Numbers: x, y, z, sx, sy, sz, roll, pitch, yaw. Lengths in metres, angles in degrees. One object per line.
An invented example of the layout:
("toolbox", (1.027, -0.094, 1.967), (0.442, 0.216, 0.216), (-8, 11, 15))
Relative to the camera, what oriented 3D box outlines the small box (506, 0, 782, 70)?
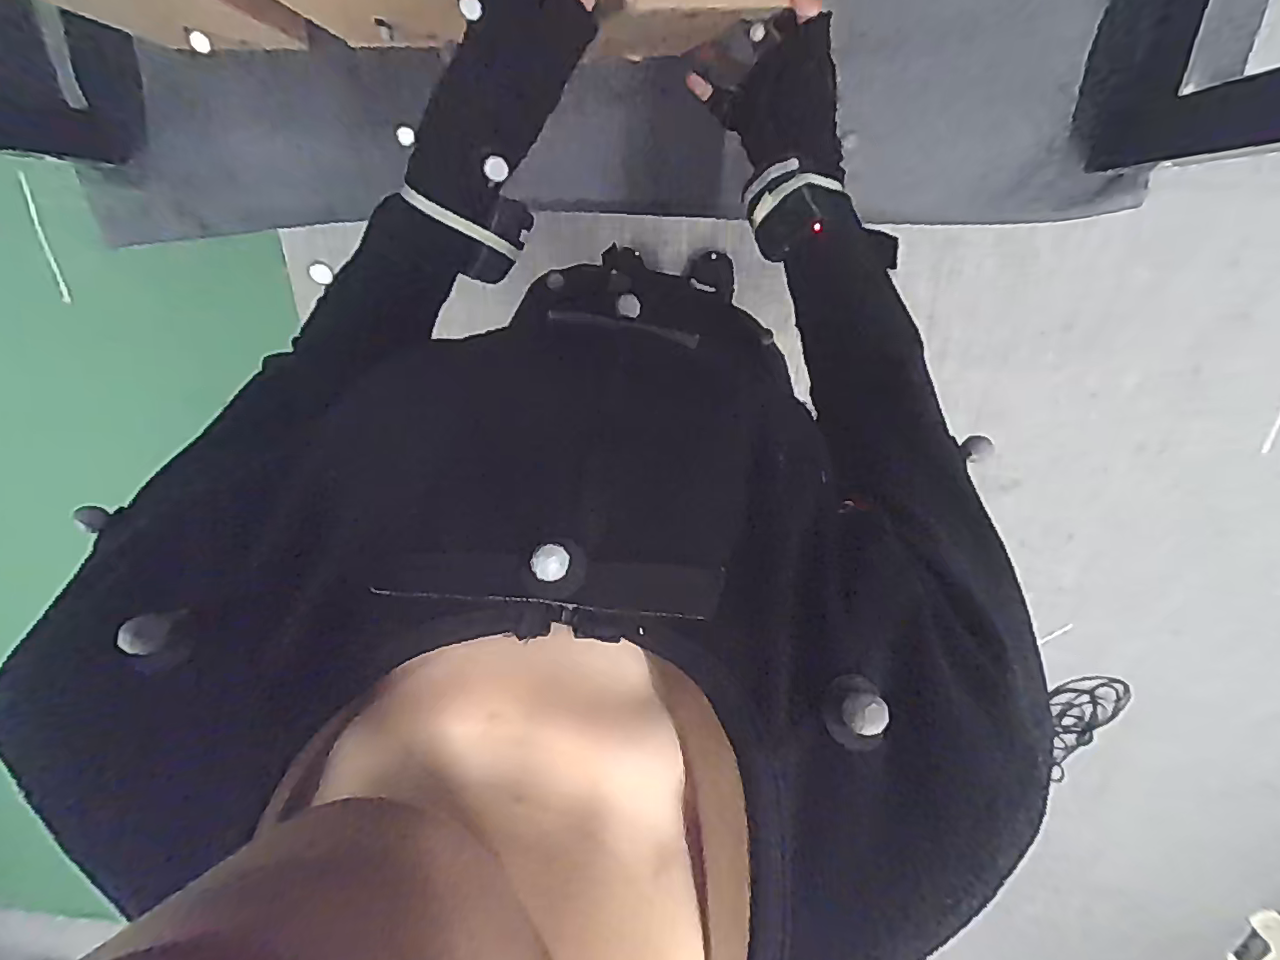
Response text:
("small box", (0.001, -0.416, 0.379), (0.168, 0.176, 0.179), (-26, 125, -28))
